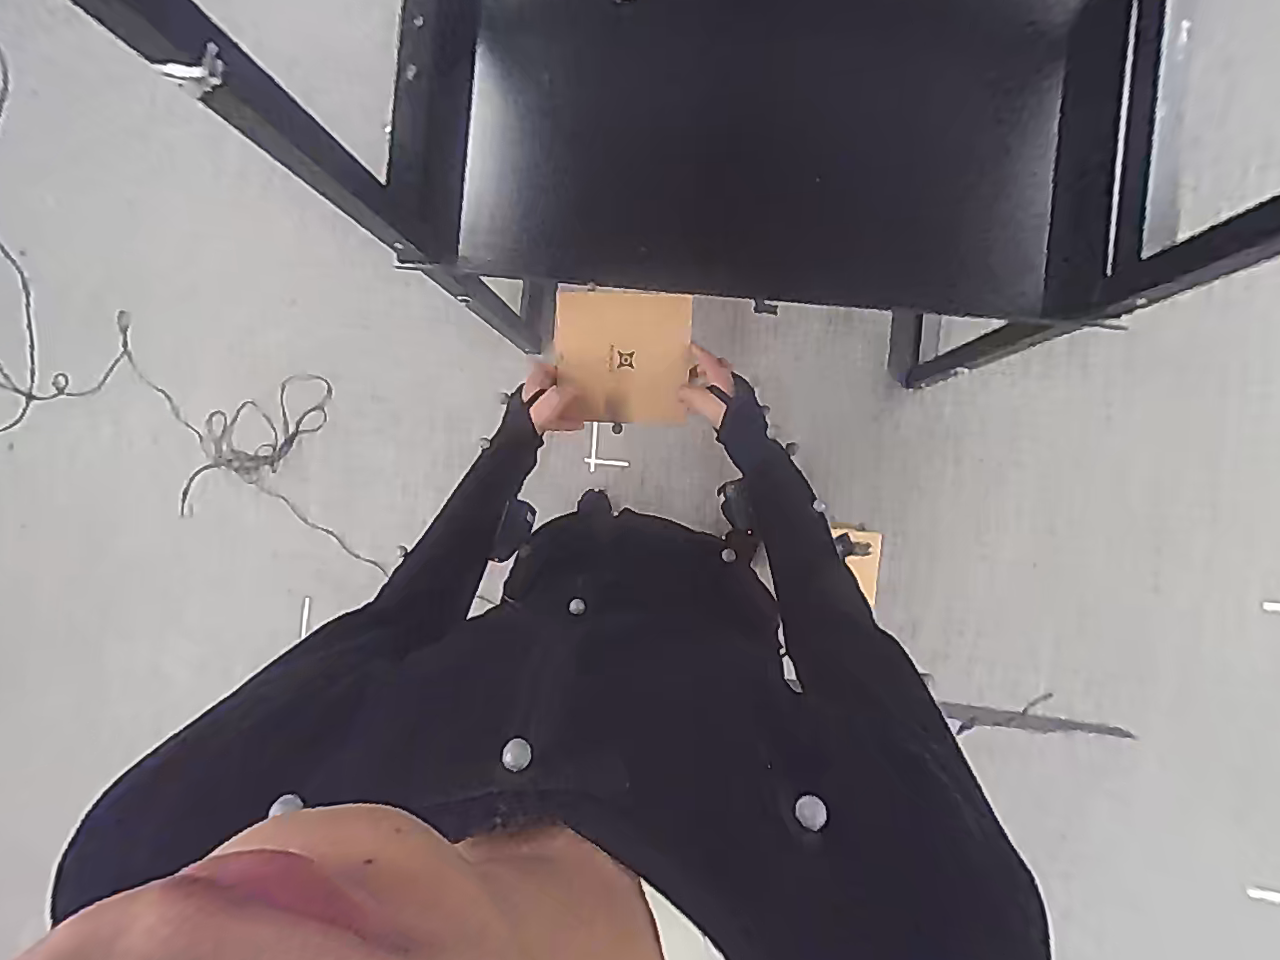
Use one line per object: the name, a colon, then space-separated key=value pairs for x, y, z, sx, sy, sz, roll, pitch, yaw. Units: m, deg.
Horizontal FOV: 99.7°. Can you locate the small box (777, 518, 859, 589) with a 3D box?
small box: x=0.492 y=0.199 z=1.511 sx=0.179 sy=0.176 sz=0.168 roll=4 pitch=90 yaw=5

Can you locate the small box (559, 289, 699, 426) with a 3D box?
small box: x=-0.011 y=-0.169 z=0.764 sx=0.179 sy=0.176 sz=0.168 roll=3 pitch=100 yaw=4
